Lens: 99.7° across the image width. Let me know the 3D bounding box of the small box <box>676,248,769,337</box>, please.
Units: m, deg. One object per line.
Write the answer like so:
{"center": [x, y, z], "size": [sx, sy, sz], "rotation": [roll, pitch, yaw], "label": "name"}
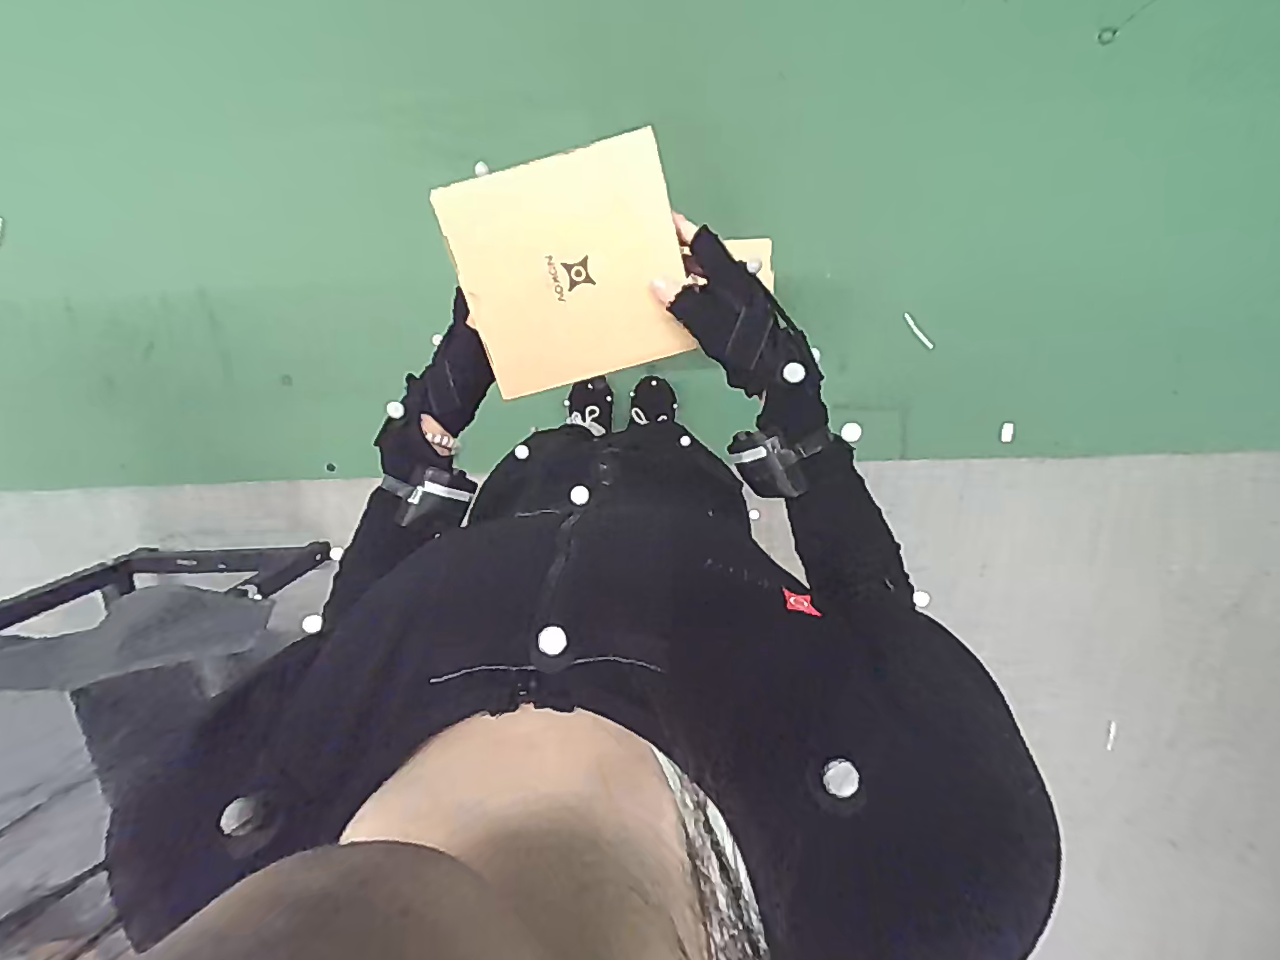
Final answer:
{"center": [0.170, -0.398, 1.164], "size": [0.179, 0.176, 0.168], "rotation": [-2, 102, 1], "label": "small box"}
